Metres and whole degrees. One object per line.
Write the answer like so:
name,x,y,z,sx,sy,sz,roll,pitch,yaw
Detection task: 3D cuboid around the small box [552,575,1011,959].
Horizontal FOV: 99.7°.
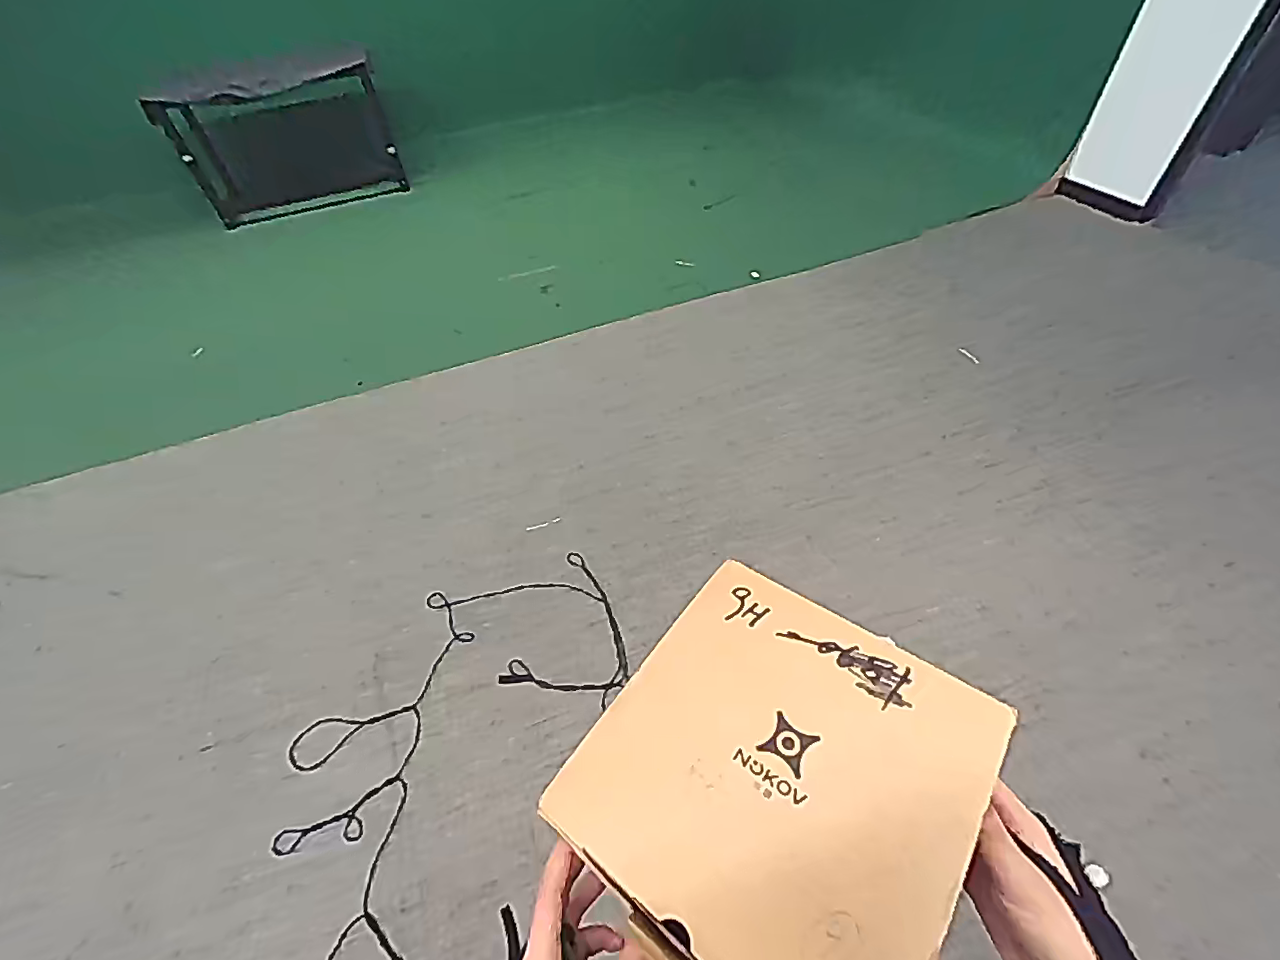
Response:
small box,0.080,0.199,0.325,0.168,0.176,0.179,27,56,29
